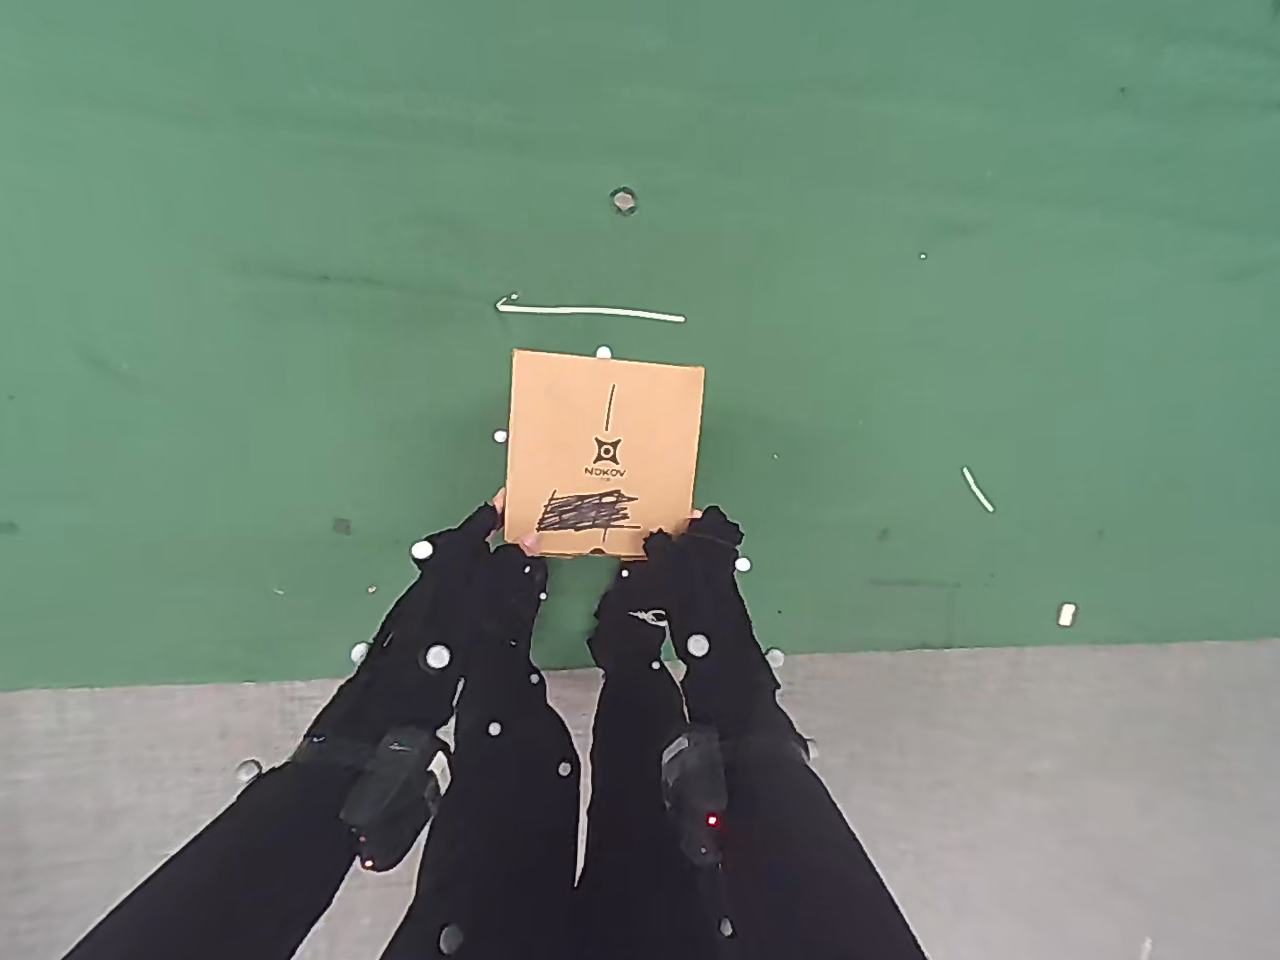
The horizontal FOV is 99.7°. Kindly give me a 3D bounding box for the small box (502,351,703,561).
[{"bbox_3d":[-0.046,-0.028,0.551,0.168,0.176,0.179,4,98,-12],"label":"small box"}]
